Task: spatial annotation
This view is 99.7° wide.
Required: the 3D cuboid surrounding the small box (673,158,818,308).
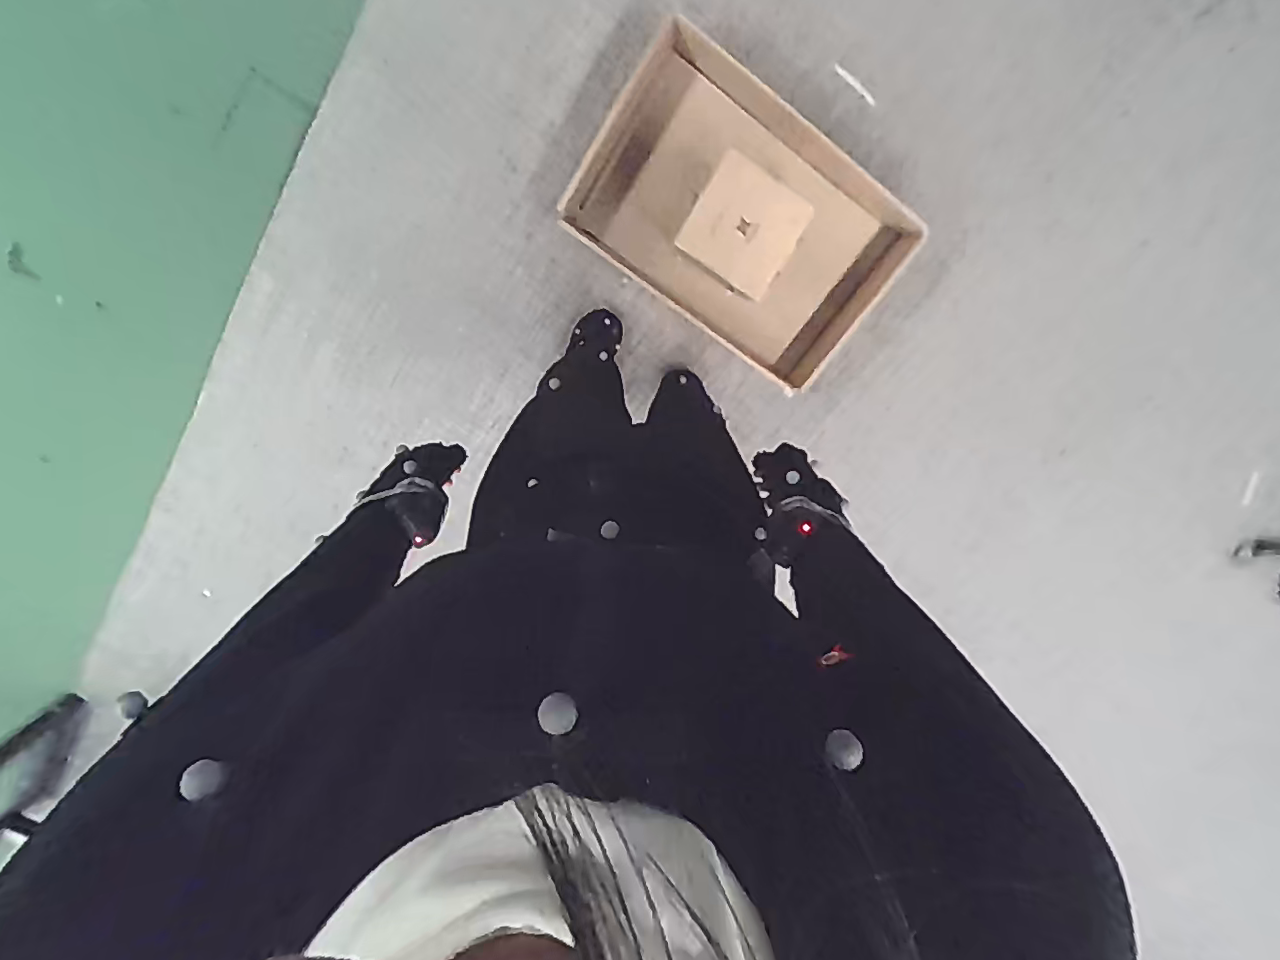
[{"bbox_3d":[0.171,-0.421,0.941,0.179,0.176,0.168,27,109,-9],"label":"small box"}]
